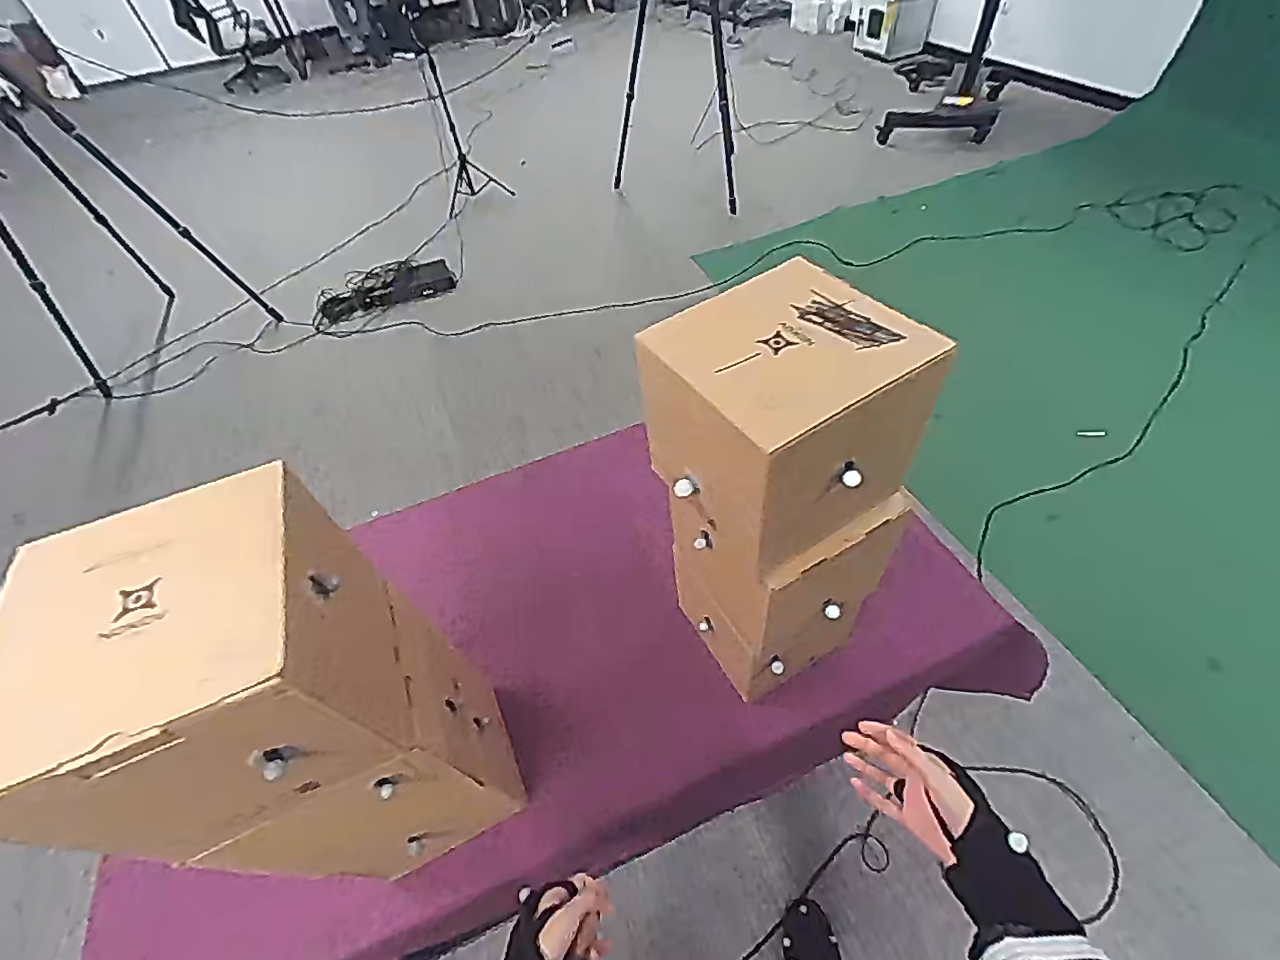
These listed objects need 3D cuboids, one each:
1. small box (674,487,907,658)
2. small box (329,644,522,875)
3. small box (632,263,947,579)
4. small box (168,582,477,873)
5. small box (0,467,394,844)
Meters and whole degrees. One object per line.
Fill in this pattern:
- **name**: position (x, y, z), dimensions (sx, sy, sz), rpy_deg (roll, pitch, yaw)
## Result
- **small box**: position (0.144, 0.058, 0.588), dimensions (0.168, 0.176, 0.179), rpy_deg (-27, 52, -13)
- **small box**: position (-0.261, 0.331, 0.634), dimensions (0.179, 0.176, 0.168), rpy_deg (-24, 52, -11)
- **small box**: position (0.113, -0.050, 0.466), dimensions (0.179, 0.176, 0.168), rpy_deg (-29, 52, -14)
- **small box**: position (-0.277, 0.233, 0.505), dimensions (0.179, 0.176, 0.168), rpy_deg (-23, 51, -12)
- **small box**: position (-0.293, 0.128, 0.382), dimensions (0.168, 0.176, 0.179), rpy_deg (-21, 50, -11)
